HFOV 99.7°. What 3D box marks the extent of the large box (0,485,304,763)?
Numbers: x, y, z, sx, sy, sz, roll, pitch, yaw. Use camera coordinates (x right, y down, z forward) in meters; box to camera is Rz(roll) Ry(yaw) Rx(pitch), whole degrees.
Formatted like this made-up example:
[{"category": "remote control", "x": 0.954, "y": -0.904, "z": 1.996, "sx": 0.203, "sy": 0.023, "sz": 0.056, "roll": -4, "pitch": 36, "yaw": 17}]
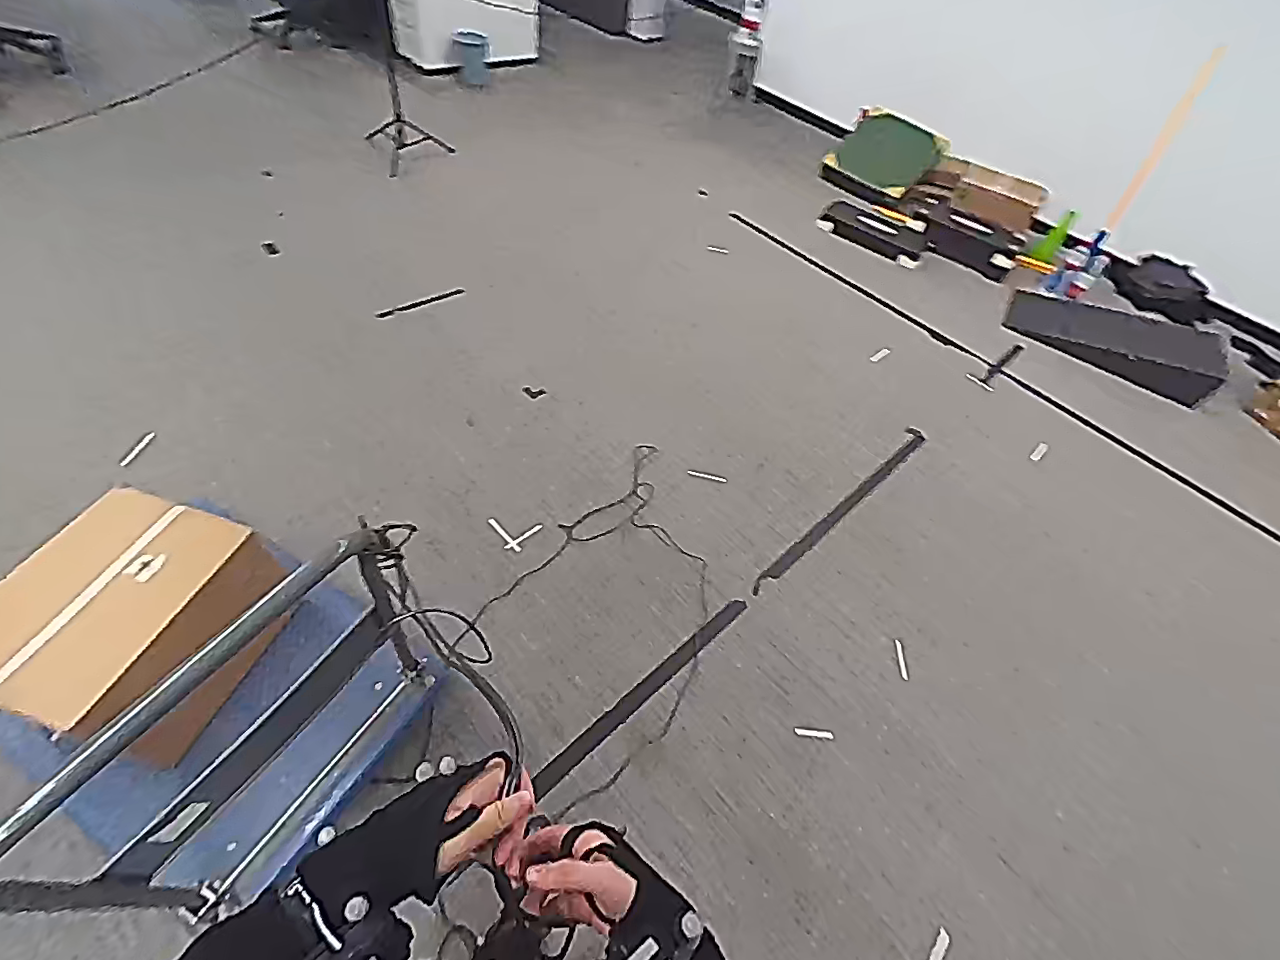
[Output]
[{"category": "large box", "x": -0.992, "y": 0.289, "z": 1.093, "sx": 0.320, "sy": 0.320, "sz": 0.408, "roll": 18, "pitch": 51, "yaw": 4}]
